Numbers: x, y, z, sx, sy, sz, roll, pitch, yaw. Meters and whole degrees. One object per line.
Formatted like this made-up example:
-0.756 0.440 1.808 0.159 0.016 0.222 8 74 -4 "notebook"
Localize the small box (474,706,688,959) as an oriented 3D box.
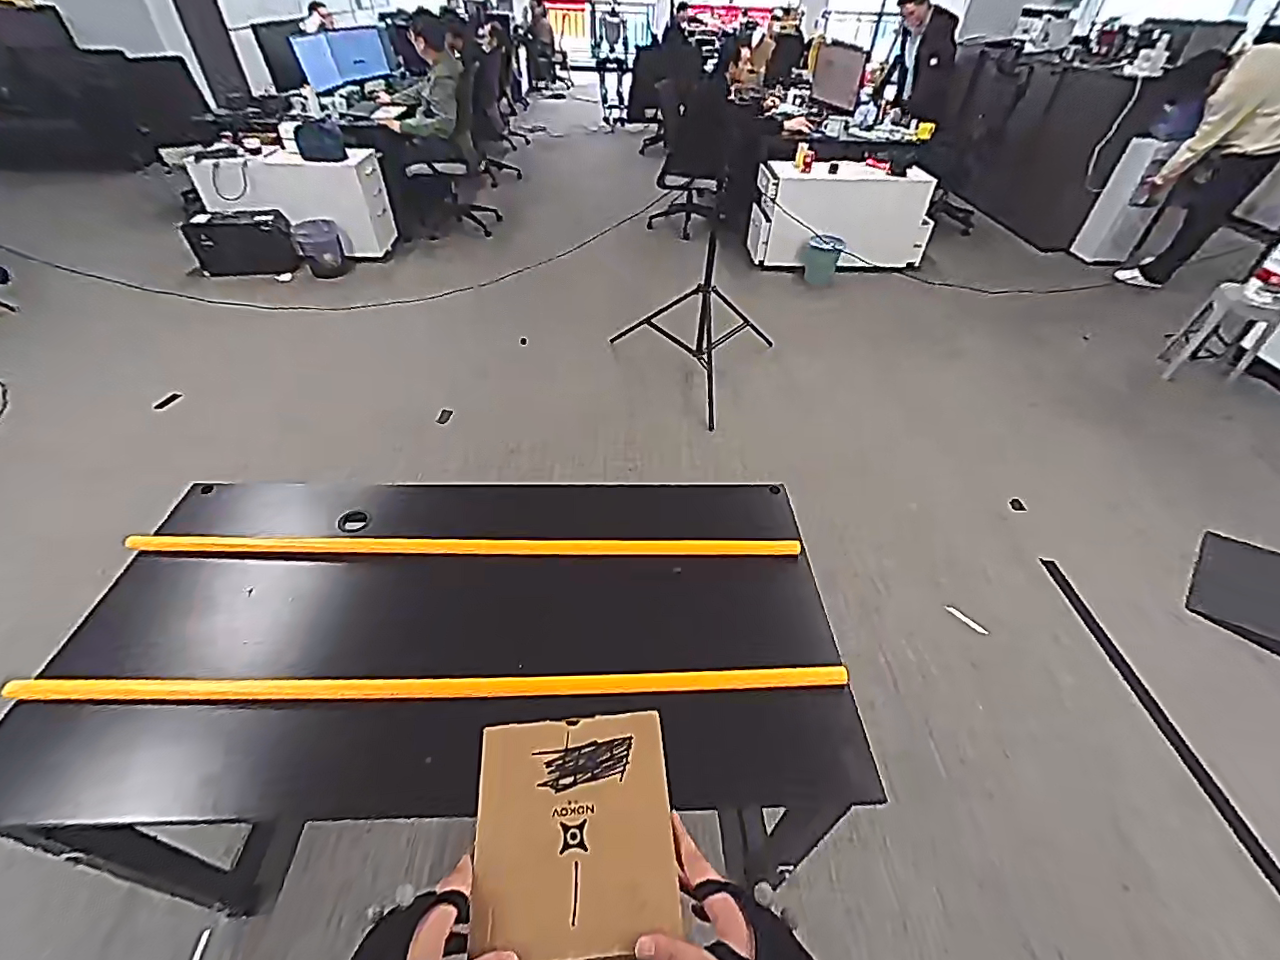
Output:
-0.052 0.342 0.522 0.168 0.176 0.179 -4 48 -4 "small box"
